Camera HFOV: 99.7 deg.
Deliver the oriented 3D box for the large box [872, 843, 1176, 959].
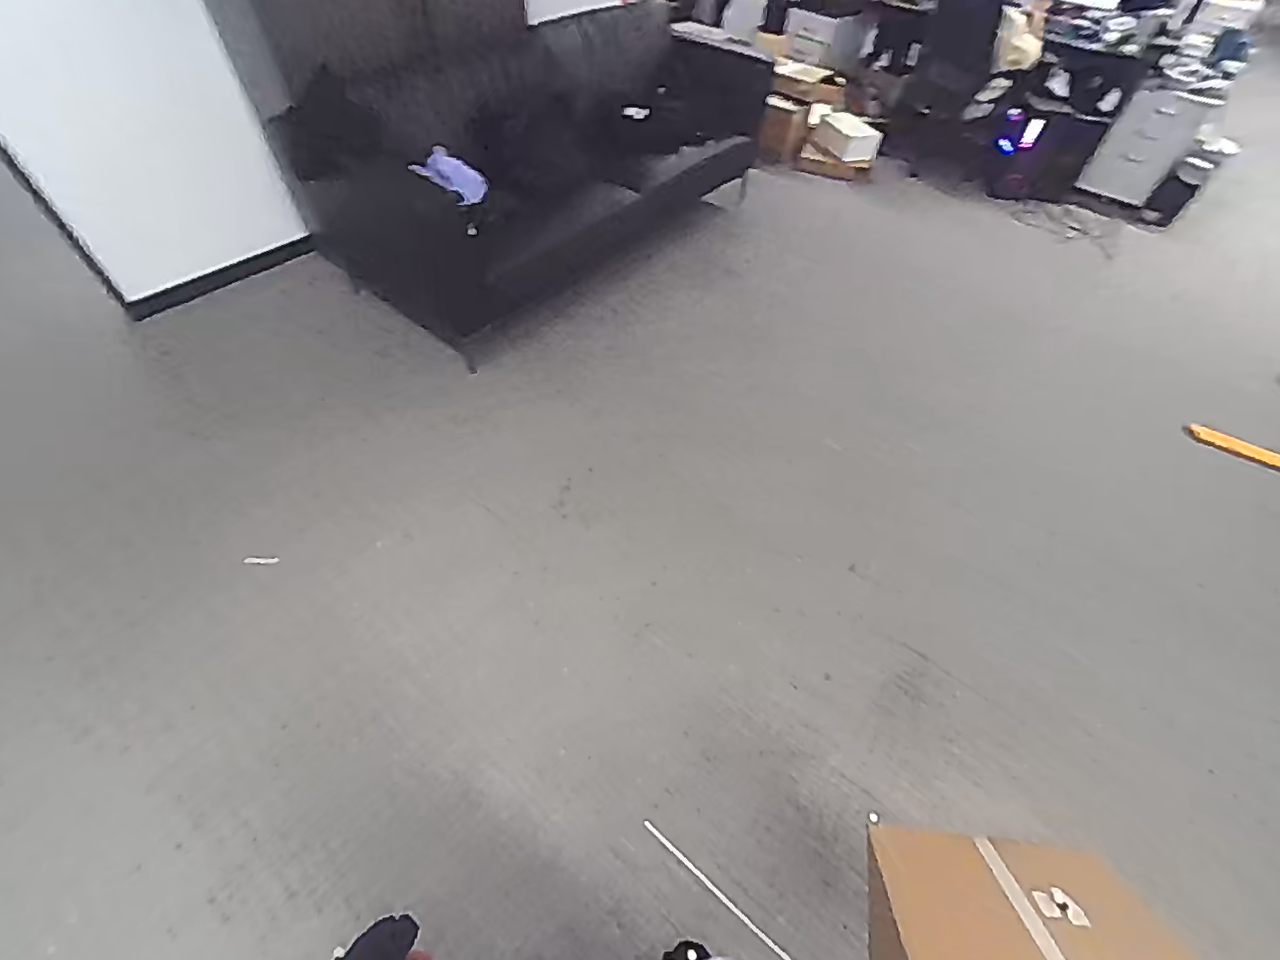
[{"bbox_3d":[0.461,0.701,0.603,0.320,0.408,0.320,2,87,13],"label":"large box"}]
